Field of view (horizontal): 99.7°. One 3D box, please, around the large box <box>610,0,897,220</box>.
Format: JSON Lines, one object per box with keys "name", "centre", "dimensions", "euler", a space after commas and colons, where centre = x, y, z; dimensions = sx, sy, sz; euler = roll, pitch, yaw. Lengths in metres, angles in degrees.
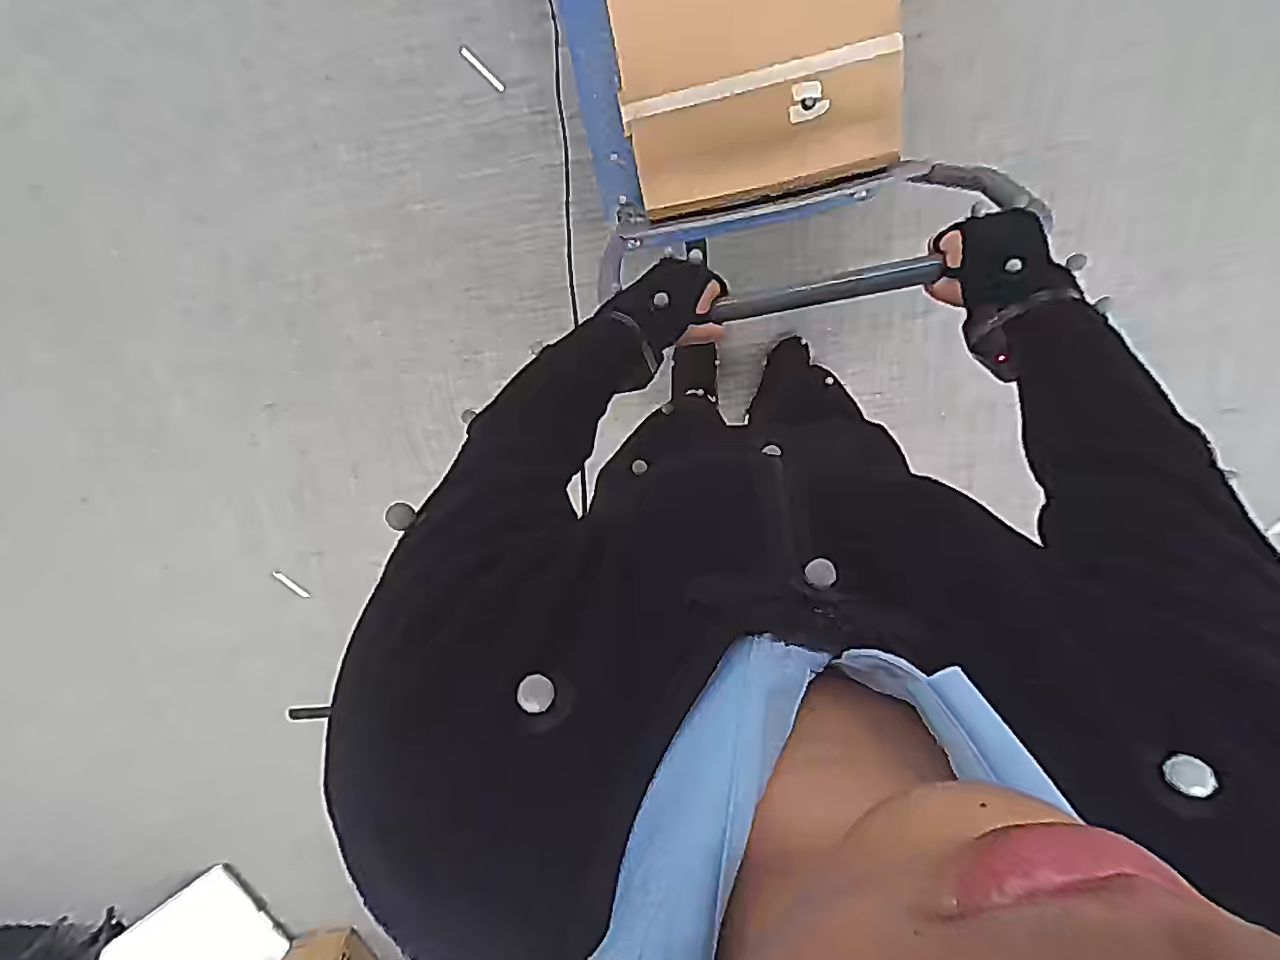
{"name": "large box", "centre": [0.185, -0.672, 0.948], "dimensions": [0.408, 0.320, 0.320], "euler": [-10, 117, 7]}
